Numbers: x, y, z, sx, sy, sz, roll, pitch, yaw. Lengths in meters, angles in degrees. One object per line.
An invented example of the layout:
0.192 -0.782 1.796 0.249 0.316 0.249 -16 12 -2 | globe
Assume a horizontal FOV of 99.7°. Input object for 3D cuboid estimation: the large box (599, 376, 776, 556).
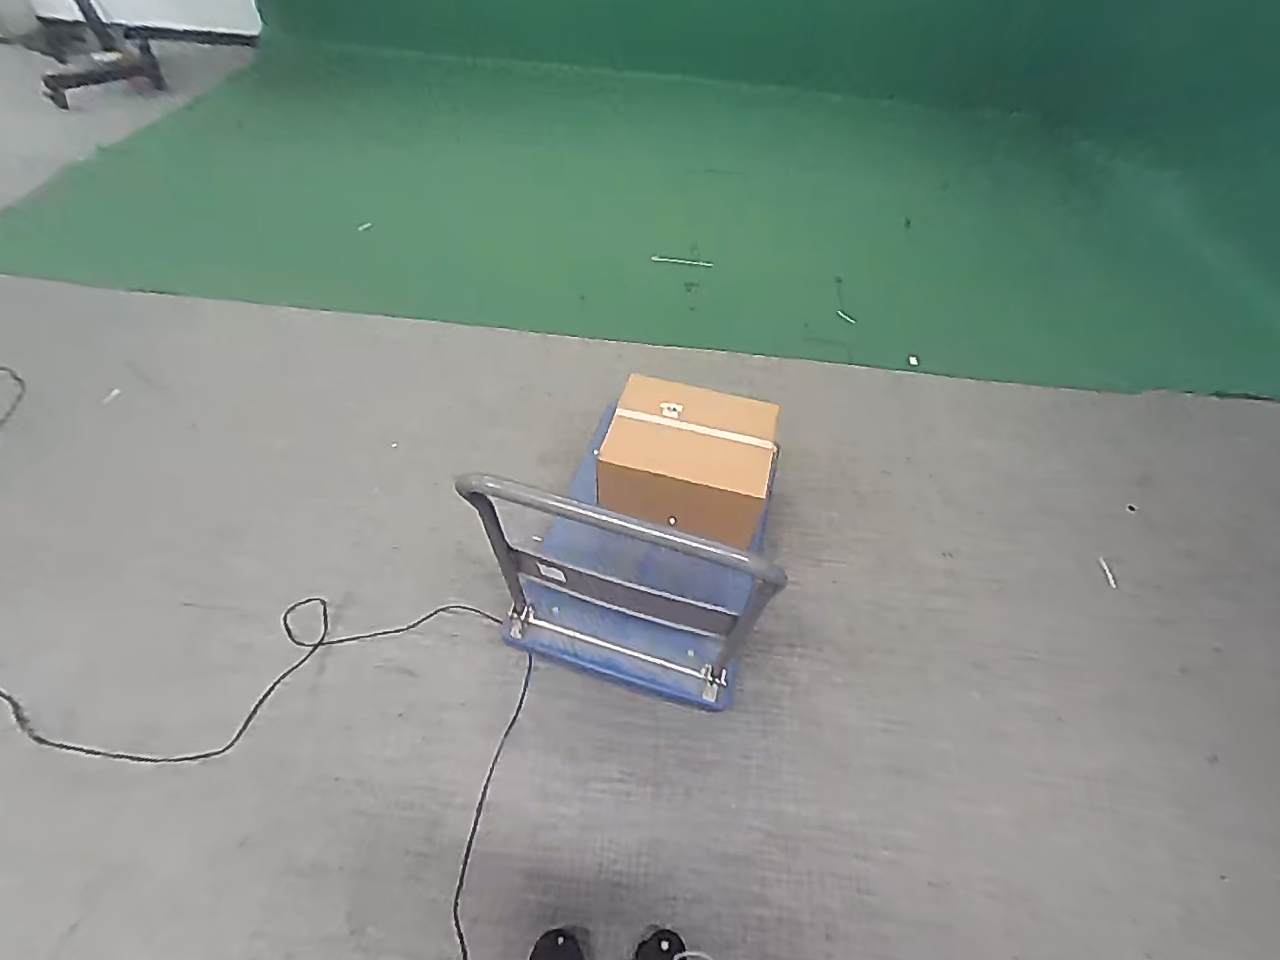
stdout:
0.127 -0.033 1.469 0.408 0.320 0.320 14 53 7 | large box
